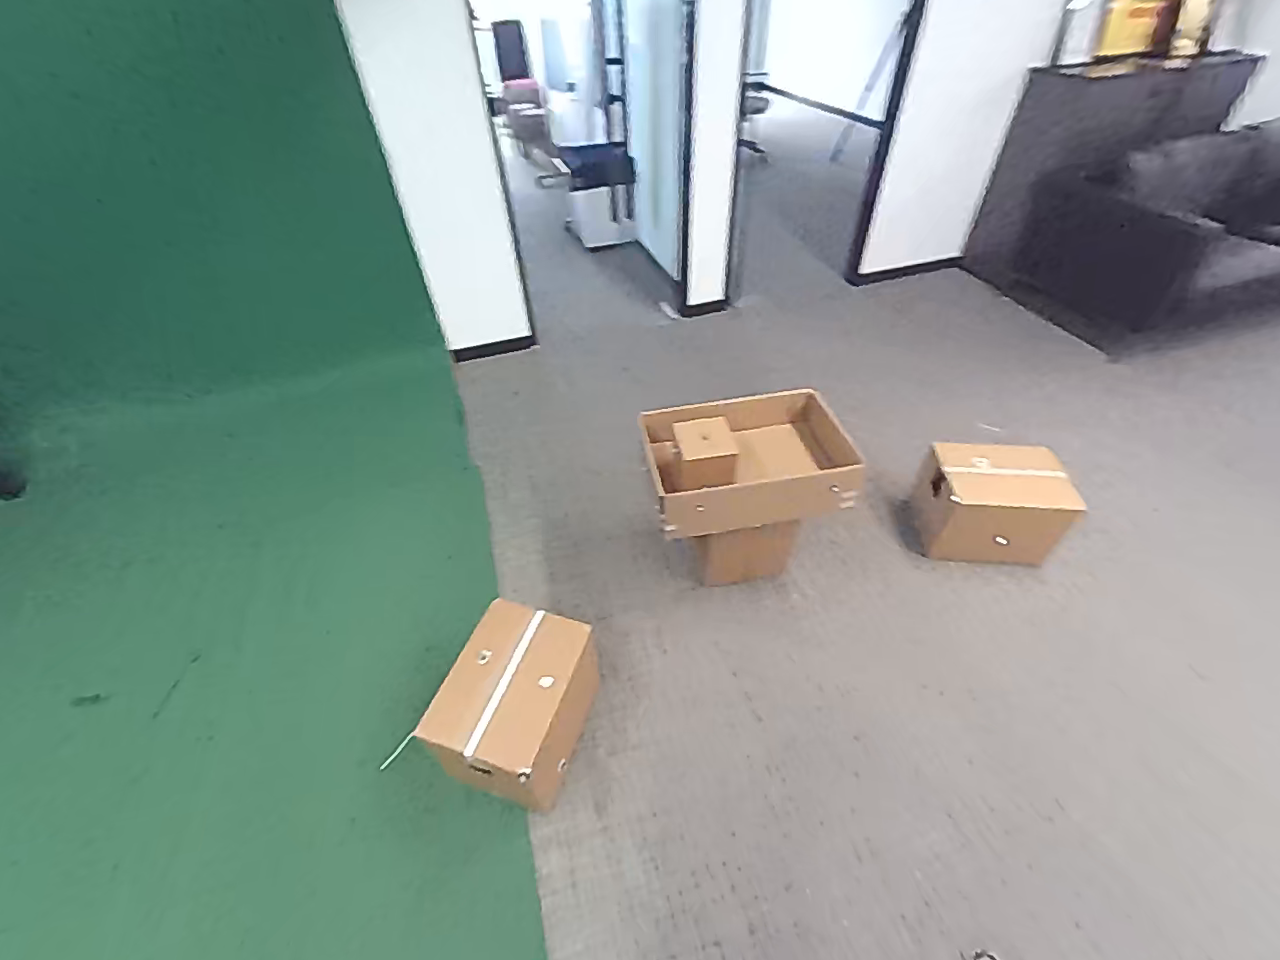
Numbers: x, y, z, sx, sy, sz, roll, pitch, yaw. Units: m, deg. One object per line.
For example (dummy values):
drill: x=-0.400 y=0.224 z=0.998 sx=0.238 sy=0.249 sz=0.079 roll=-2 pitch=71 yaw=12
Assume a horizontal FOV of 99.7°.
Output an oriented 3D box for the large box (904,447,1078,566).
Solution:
large box: x=1.248 y=0.097 z=1.976 sx=0.408 sy=0.320 sz=0.320 roll=2 pitch=44 yaw=6
